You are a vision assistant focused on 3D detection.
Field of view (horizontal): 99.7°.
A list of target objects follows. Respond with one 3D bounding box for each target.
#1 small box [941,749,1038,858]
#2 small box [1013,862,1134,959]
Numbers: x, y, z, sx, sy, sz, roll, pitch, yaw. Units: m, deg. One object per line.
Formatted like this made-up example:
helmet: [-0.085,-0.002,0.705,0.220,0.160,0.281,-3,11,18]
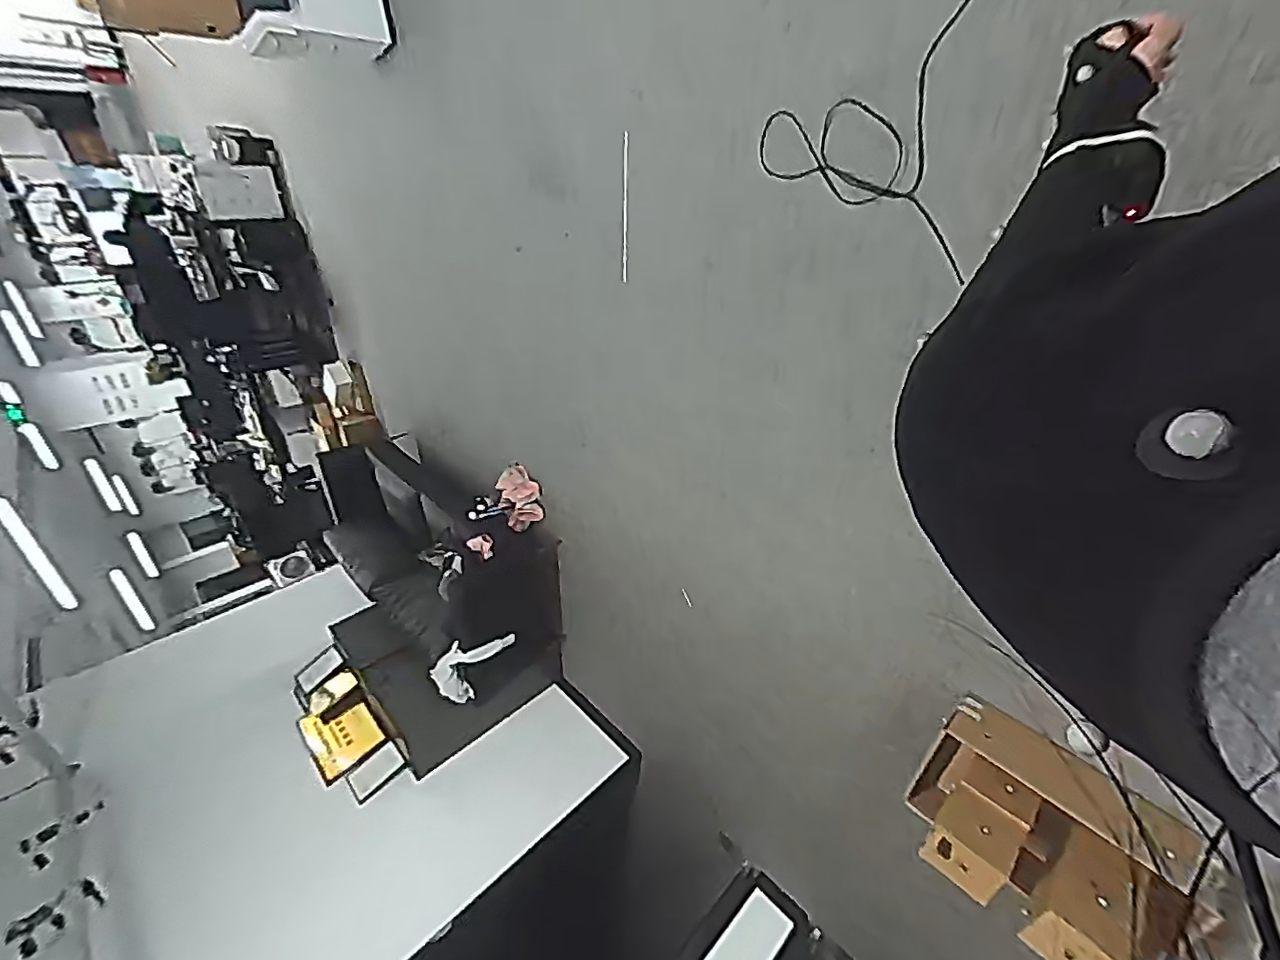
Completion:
small box: [1.015,0.927,1.566,0.179,0.176,0.168,28,127,36]
small box: [1.066,1.100,1.327,0.168,0.176,0.179,33,131,34]
